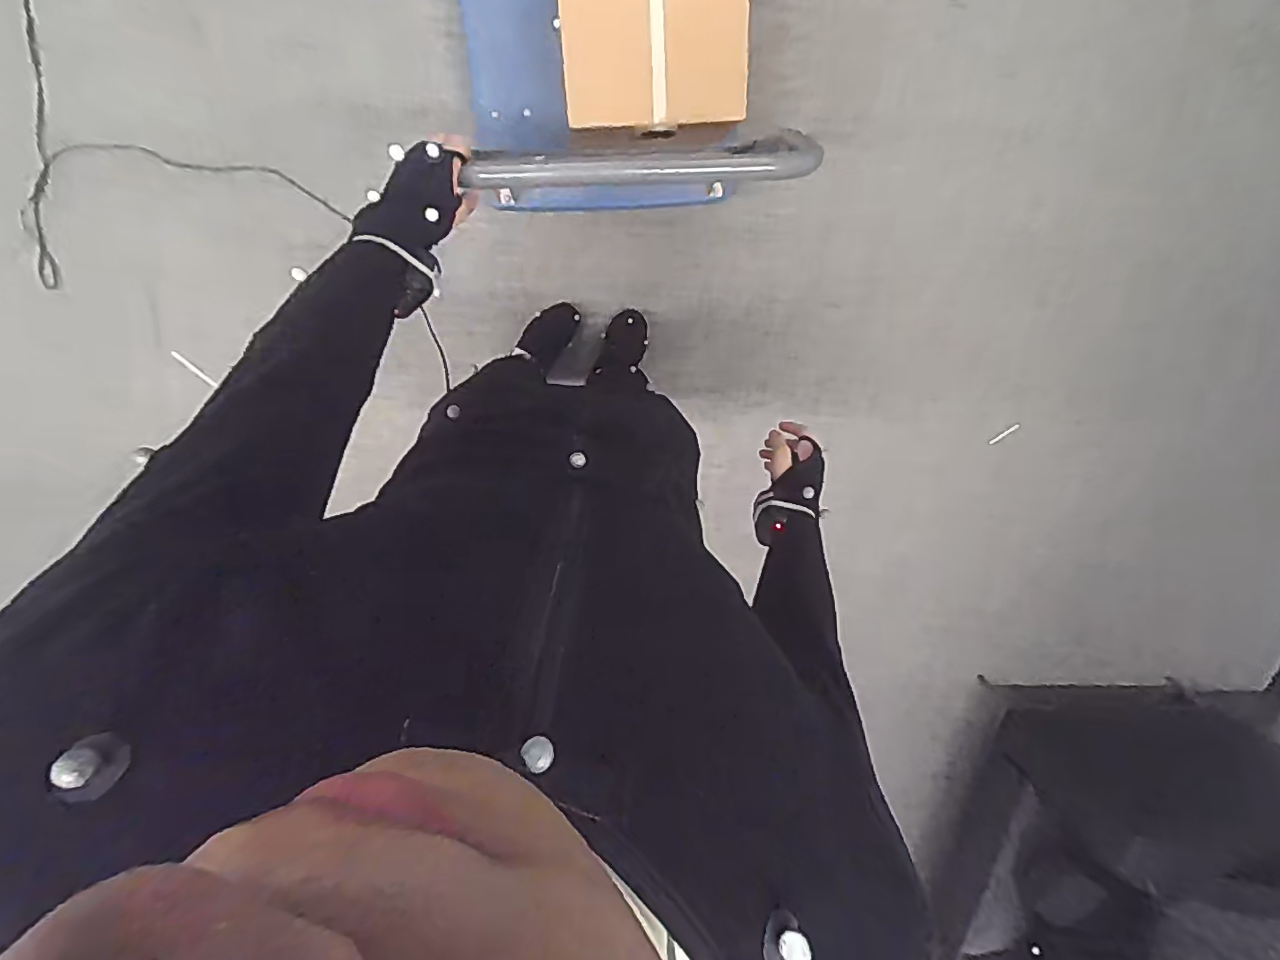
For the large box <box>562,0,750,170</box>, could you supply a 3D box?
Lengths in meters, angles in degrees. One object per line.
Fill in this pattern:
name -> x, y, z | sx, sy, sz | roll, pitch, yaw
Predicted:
large box -> 0.019, -0.841, 1.014 | 0.320, 0.320, 0.408 | -4, 111, -3
